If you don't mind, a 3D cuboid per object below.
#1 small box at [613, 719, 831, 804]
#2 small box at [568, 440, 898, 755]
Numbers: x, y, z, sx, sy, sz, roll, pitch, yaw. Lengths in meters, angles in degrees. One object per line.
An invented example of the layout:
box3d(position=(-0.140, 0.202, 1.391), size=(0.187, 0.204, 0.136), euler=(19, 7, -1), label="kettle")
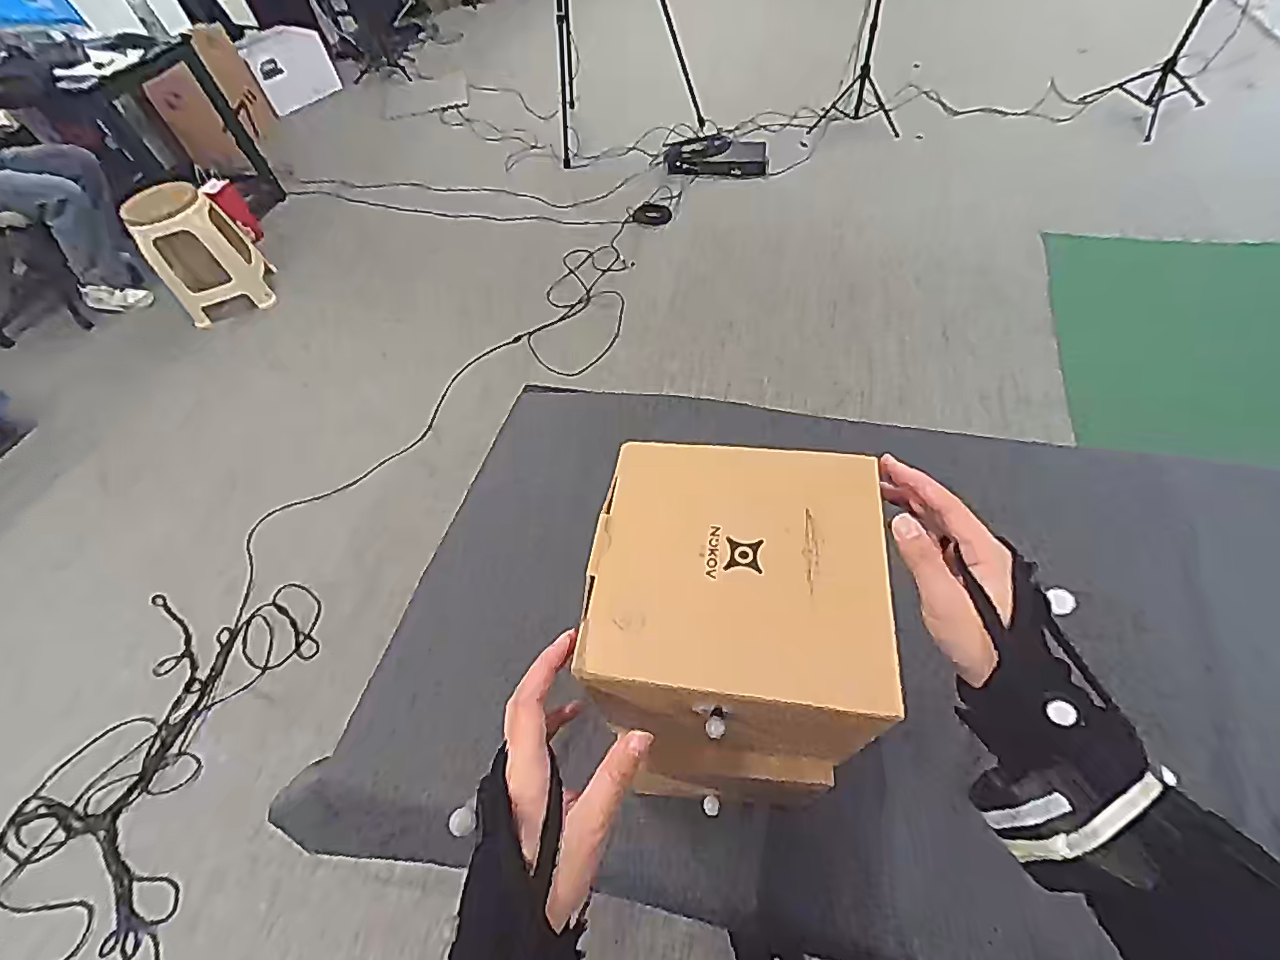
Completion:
box3d(position=(0.075, 0.195, 0.516), size=(0.168, 0.176, 0.179), euler=(1, 56, 8), label="small box")
box3d(position=(0.065, 0.089, 0.392), size=(0.179, 0.176, 0.168), euler=(5, 57, 9), label="small box")
